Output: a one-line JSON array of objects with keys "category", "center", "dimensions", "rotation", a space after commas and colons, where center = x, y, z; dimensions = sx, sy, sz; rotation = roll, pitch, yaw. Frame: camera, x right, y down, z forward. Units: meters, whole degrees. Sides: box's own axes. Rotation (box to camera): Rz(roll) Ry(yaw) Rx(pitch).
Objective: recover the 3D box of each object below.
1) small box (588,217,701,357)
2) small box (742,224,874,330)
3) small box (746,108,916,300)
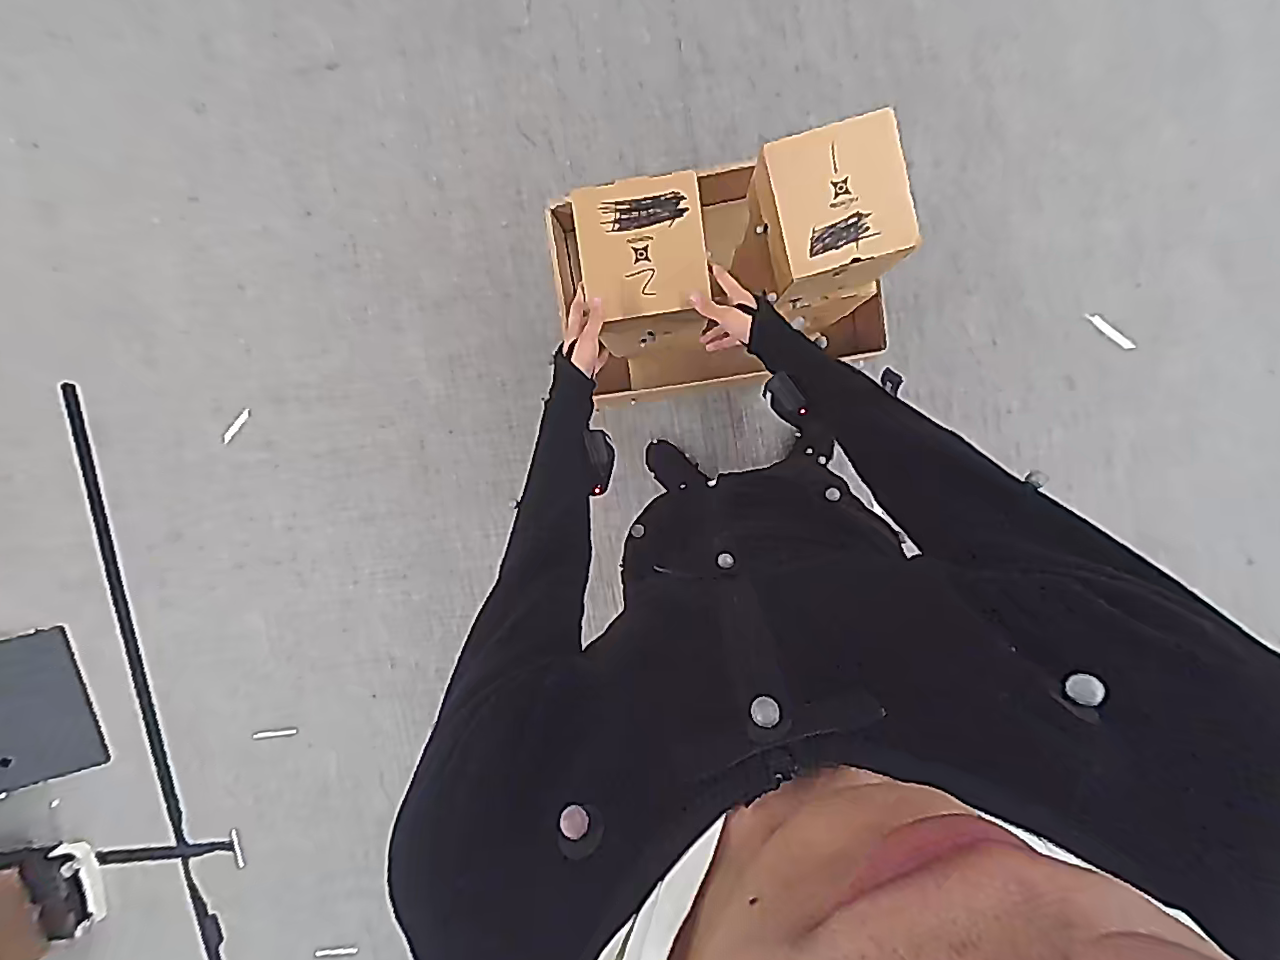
[{"category": "small box", "center": [0.012, -0.324, 0.941], "dimensions": [0.168, 0.176, 0.179], "rotation": [-8, 94, 6]}, {"category": "small box", "center": [0.275, -0.370, 0.921], "dimensions": [0.168, 0.176, 0.179], "rotation": [-11, 95, 5]}, {"category": "small box", "center": [0.254, -0.365, 0.757], "dimensions": [0.168, 0.176, 0.179], "rotation": [-14, 94, 5]}]
